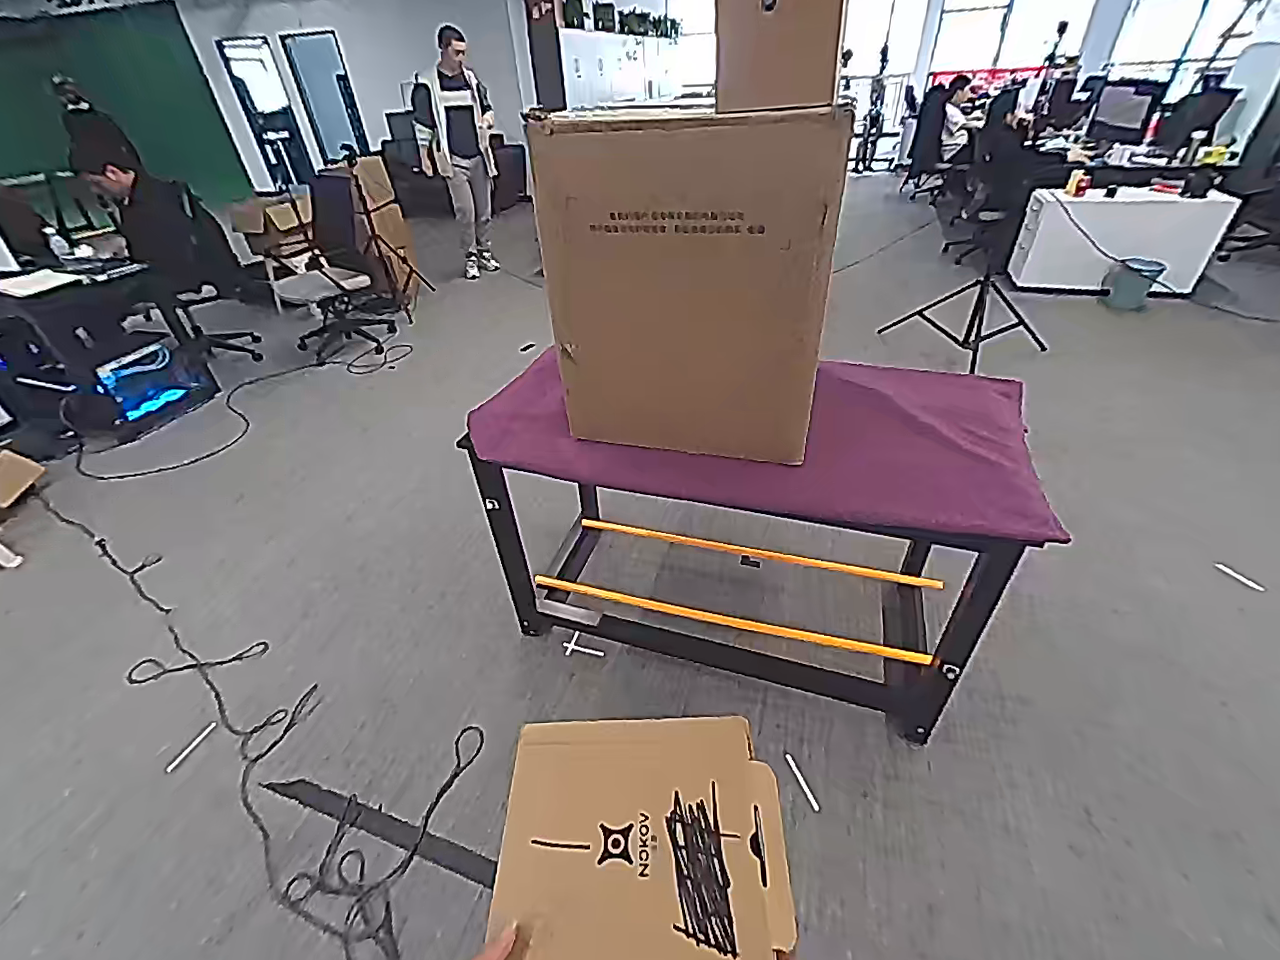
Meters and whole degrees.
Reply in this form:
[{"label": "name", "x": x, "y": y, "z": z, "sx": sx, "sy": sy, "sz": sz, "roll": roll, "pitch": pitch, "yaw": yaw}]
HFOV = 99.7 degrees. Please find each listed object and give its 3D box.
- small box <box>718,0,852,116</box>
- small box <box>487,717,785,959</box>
[{"label": "small box", "x": 0.215, "y": -0.654, "z": 0.808, "sx": 0.179, "sy": 0.176, "sz": 0.168, "roll": 8, "pitch": 39, "yaw": 17}, {"label": "small box", "x": 0.005, "y": 0.295, "z": 0.409, "sx": 0.179, "sy": 0.176, "sz": 0.168, "roll": -4, "pitch": 43, "yaw": 5}]
